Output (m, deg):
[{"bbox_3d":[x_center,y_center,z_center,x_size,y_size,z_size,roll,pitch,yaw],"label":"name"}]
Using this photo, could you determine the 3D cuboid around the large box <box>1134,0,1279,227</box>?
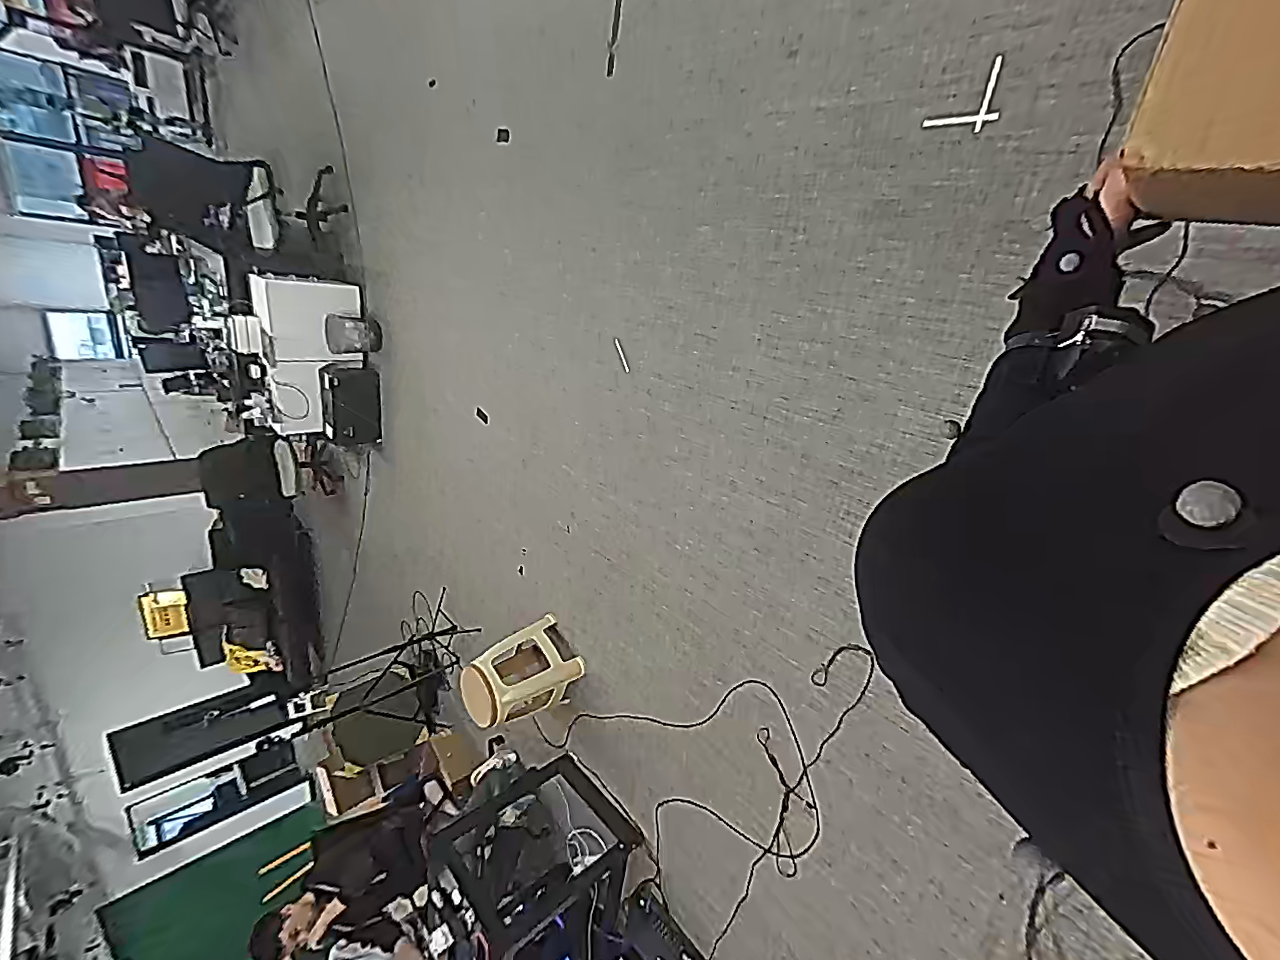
[{"bbox_3d":[0.481,-0.262,0.182,0.408,0.320,0.320,23,121,35],"label":"large box"}]
